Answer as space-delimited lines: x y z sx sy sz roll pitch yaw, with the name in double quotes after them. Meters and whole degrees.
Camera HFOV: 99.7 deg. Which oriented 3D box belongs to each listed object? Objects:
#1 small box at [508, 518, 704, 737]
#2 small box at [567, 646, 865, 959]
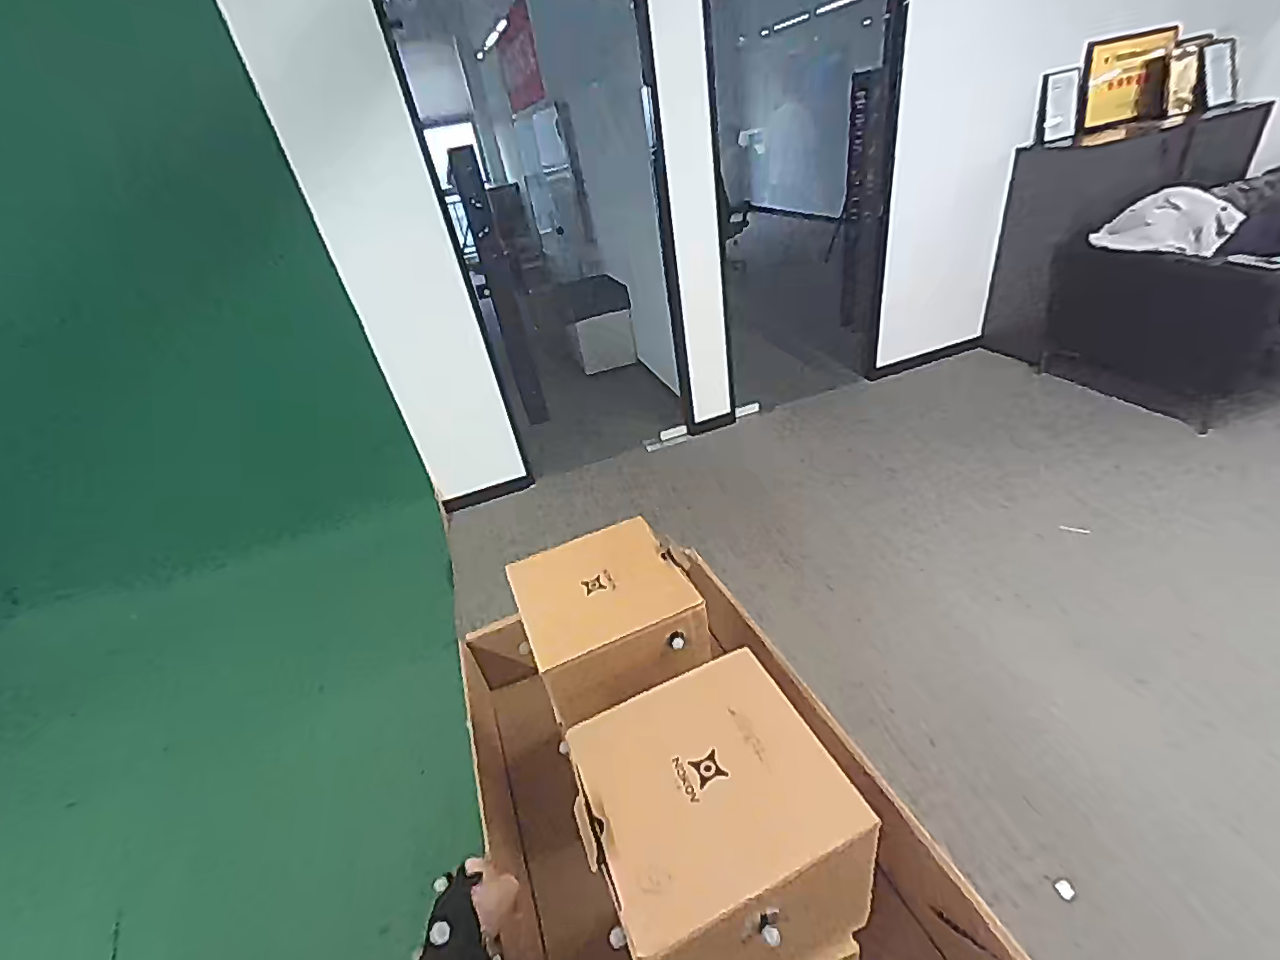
-0.035 0.178 0.633 0.179 0.176 0.168 -20 35 -16 "small box"
0.059 0.280 0.446 0.179 0.176 0.168 -20 33 -14 "small box"
